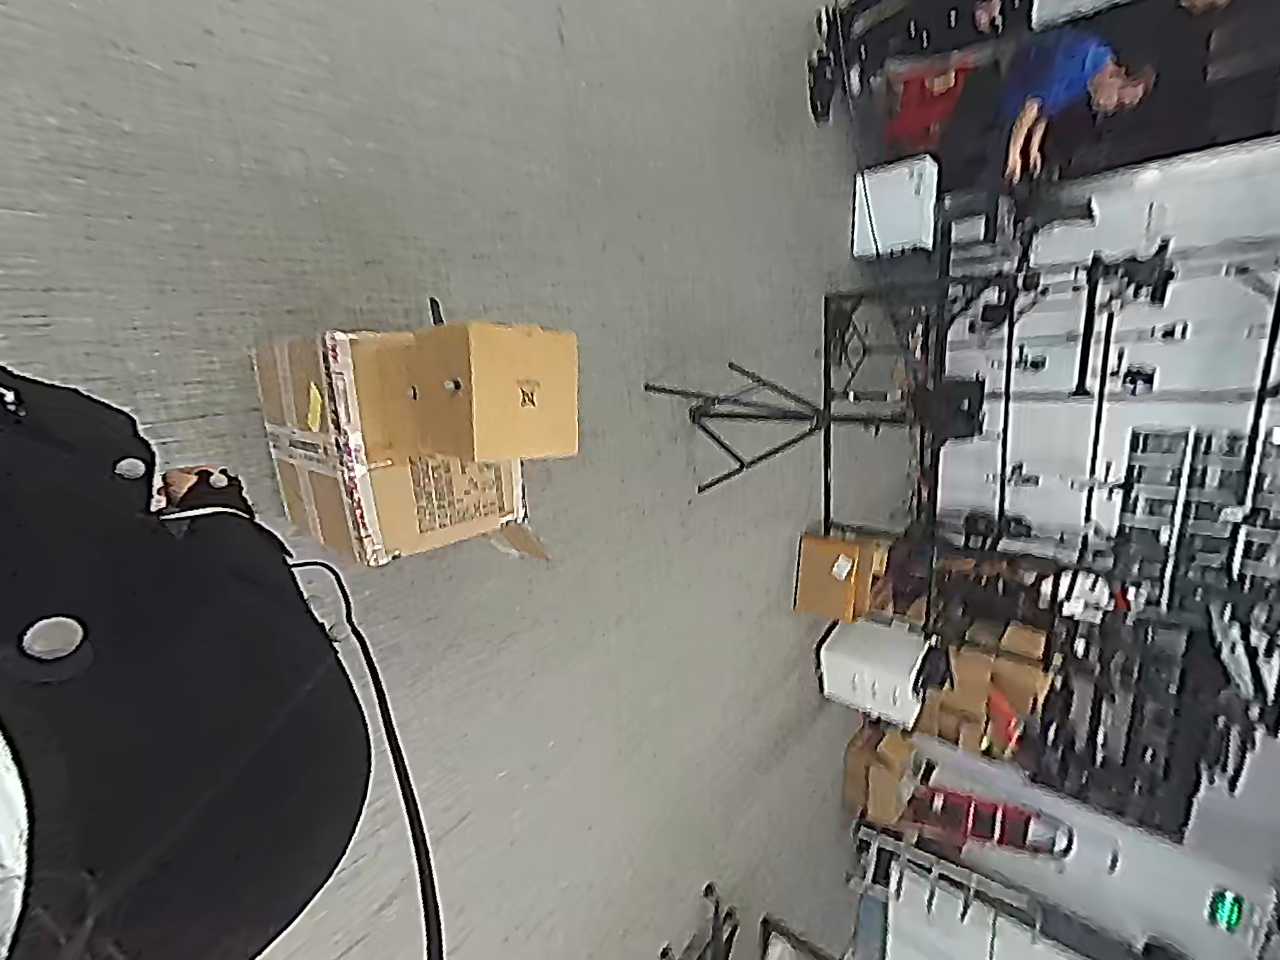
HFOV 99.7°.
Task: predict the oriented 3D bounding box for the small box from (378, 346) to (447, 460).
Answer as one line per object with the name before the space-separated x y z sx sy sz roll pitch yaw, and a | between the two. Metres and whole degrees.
small box | -0.317 -0.134 0.901 0.168 0.176 0.179 -14 106 -44

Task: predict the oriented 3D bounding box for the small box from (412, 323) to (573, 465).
small box | -0.213 -0.119 0.777 0.168 0.176 0.179 -7 100 -45
